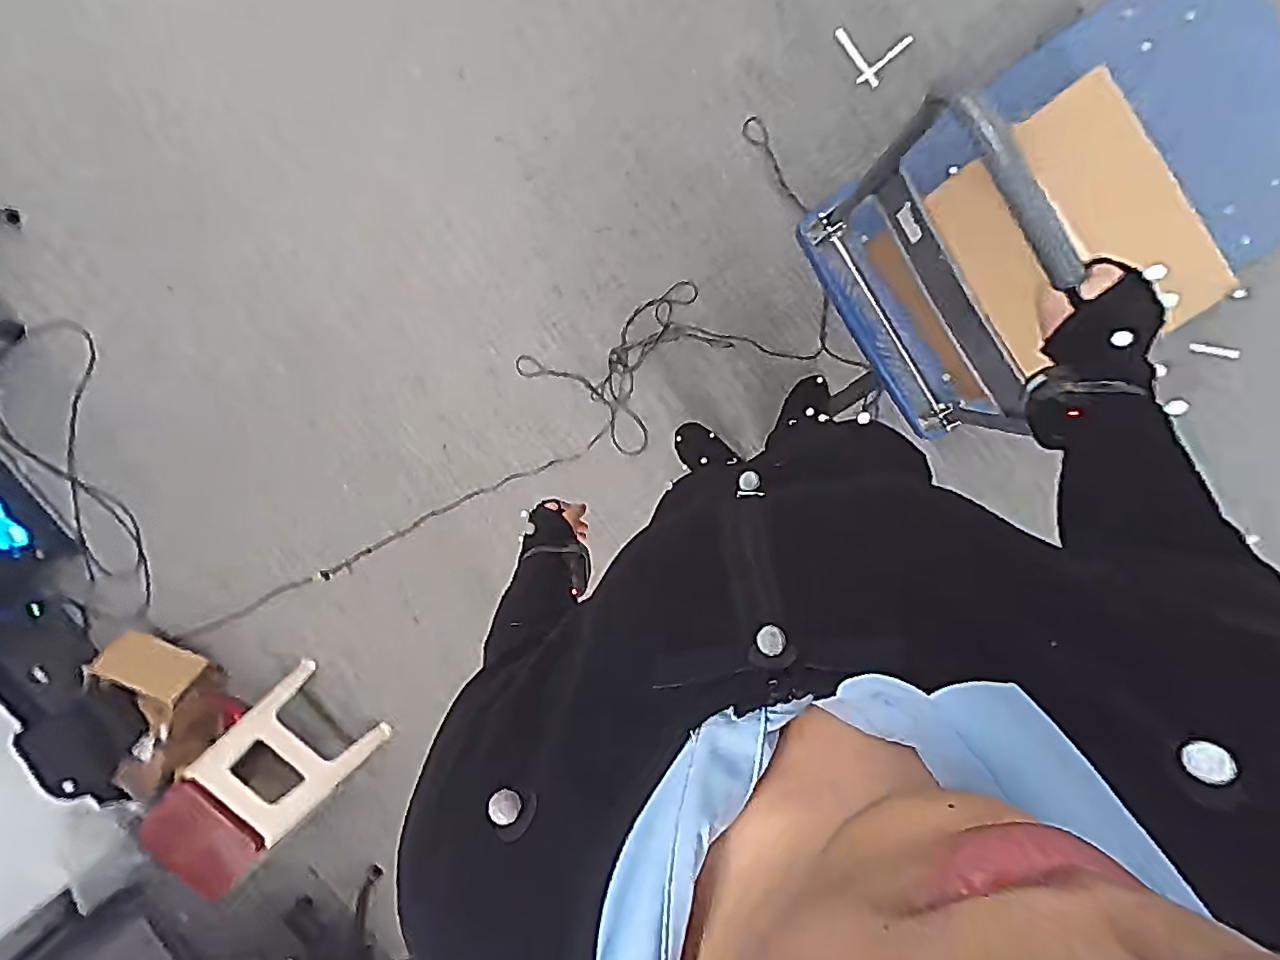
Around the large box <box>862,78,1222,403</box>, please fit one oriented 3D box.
[{"bbox_3d":[0.695,-0.402,1.011,0.320,0.320,0.408,-37,95,14],"label":"large box"}]
